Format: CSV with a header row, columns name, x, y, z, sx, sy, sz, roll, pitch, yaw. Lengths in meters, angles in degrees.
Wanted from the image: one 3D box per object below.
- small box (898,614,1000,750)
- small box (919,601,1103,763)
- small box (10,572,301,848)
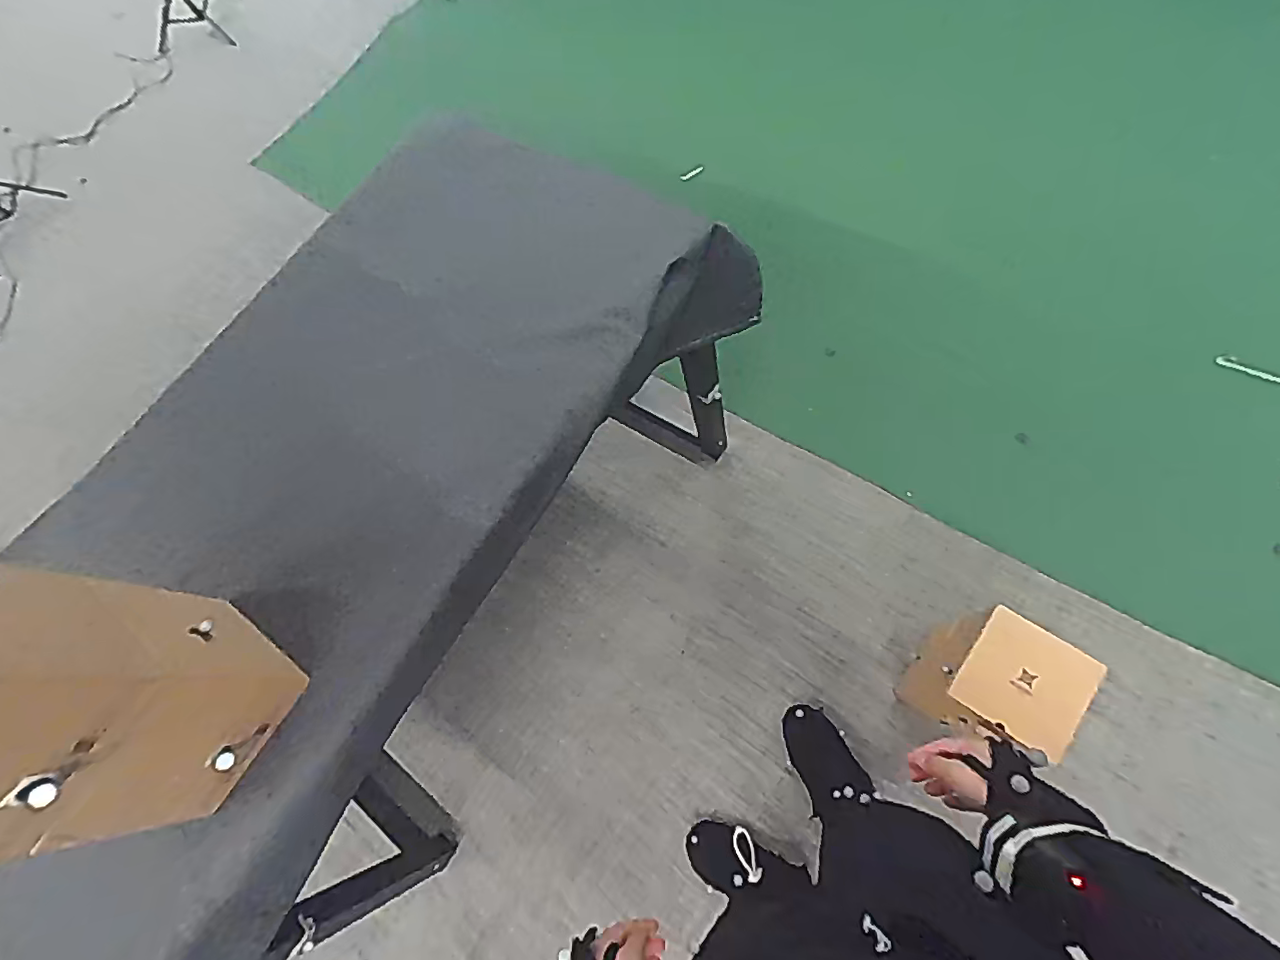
name,x,y,z,sx,sy,sz,roll,pitch,yaw
small box,0.625,0.386,1.048,0.168,0.176,0.179,32,80,21
small box,0.597,0.328,0.897,0.168,0.176,0.179,34,79,20
small box,-0.505,0.221,0.551,0.179,0.176,0.168,29,78,19
